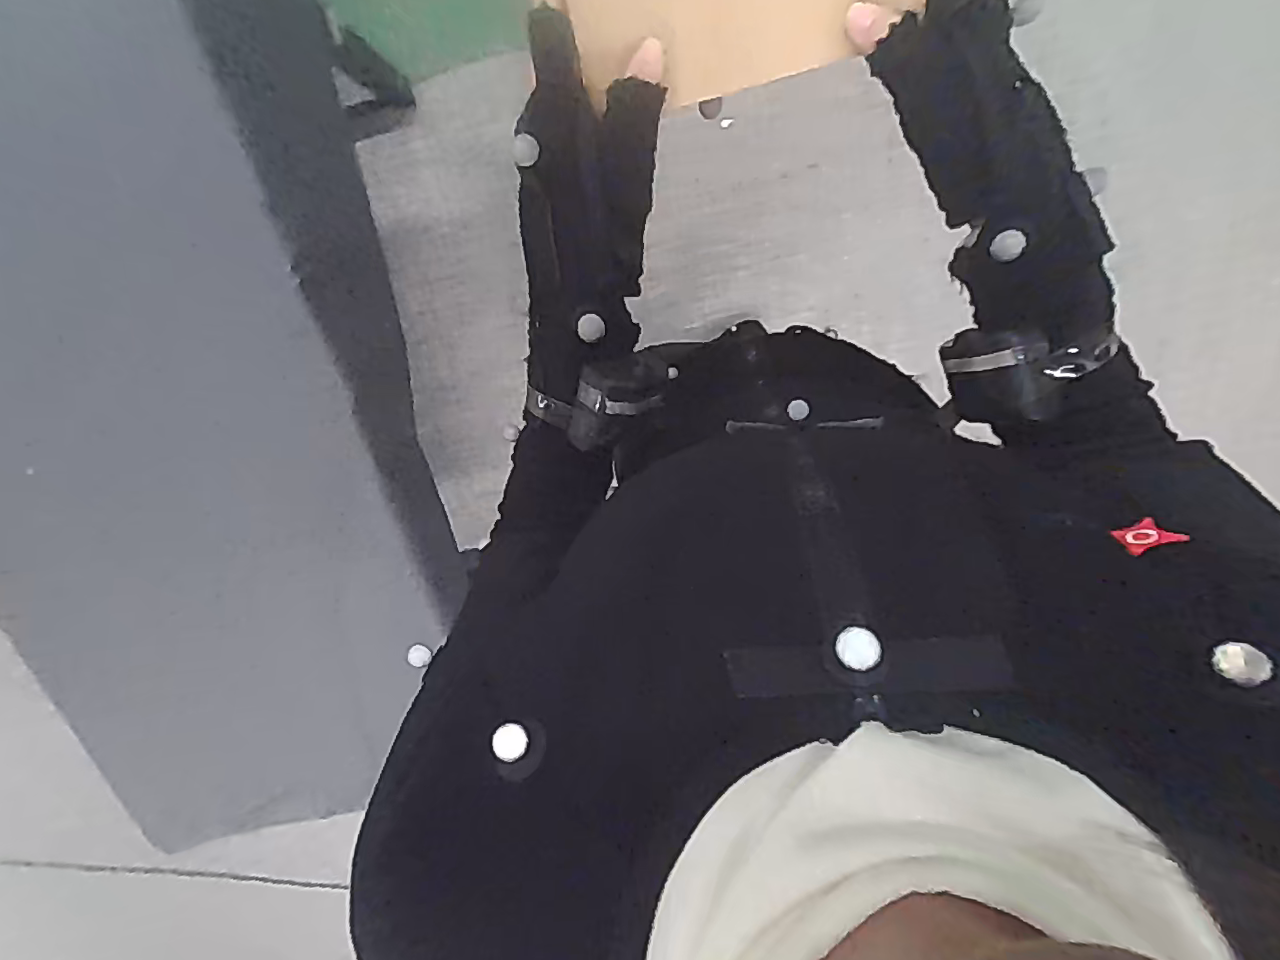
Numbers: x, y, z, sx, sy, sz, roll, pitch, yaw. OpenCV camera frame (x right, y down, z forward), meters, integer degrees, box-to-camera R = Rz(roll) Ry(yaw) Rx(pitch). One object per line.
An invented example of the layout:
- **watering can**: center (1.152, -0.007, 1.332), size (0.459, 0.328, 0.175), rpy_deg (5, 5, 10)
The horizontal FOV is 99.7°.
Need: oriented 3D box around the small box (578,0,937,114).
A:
- **small box**: center (0.049, -0.327, 0.310), size (0.179, 0.176, 0.168), rpy_deg (-12, 123, 9)
